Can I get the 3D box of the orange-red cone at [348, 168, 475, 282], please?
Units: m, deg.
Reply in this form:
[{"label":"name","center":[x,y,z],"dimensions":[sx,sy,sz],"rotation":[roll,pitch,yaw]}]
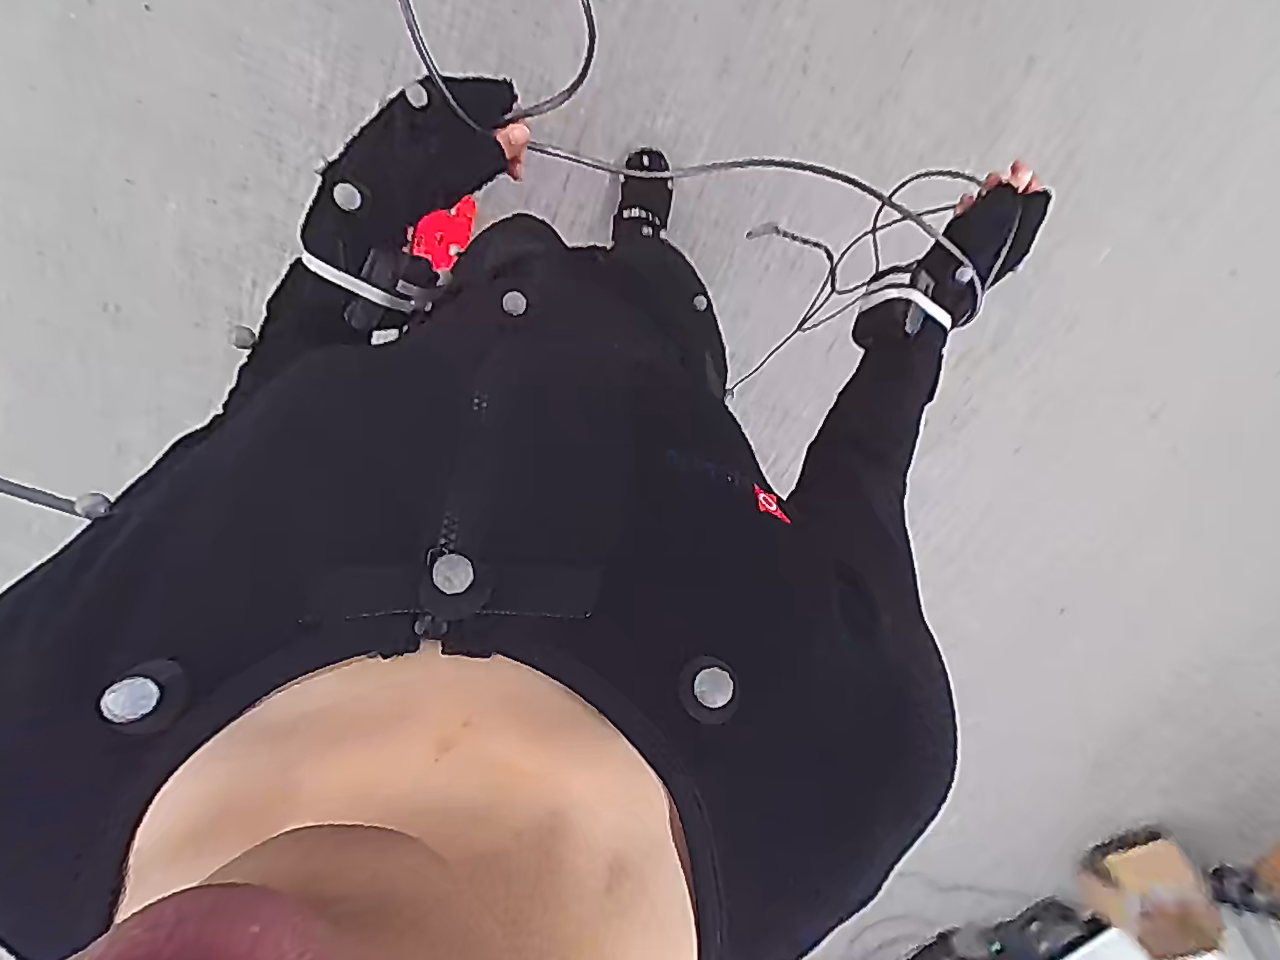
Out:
[{"label":"orange-red cone","center":[-0.488,-0.498,1.081],"dimensions":[0.199,0.360,0.198],"rotation":[19,115,-10]}]
